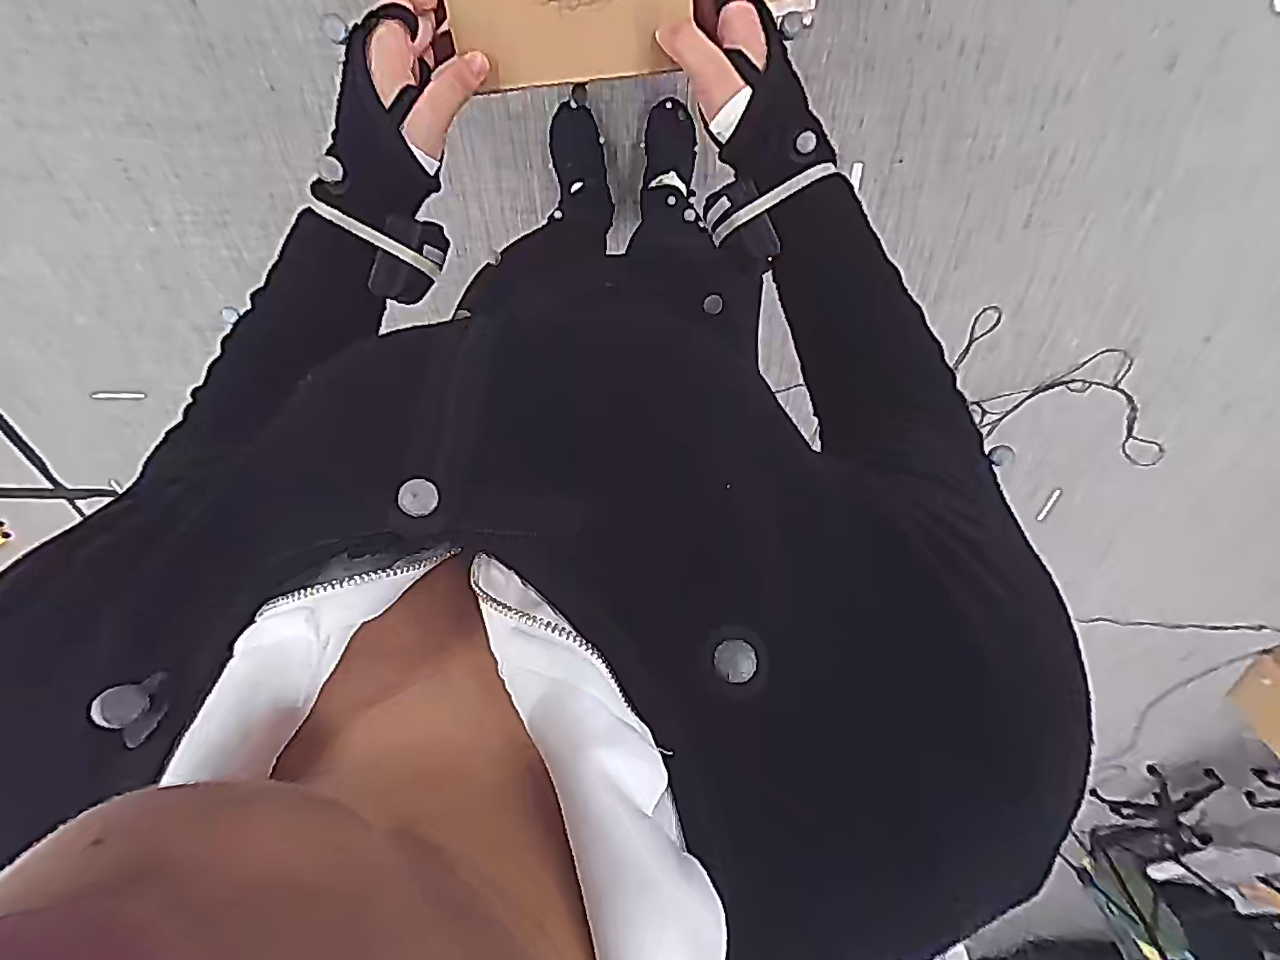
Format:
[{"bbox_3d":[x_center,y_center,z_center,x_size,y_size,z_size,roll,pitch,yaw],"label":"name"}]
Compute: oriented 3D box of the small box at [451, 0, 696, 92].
[{"bbox_3d":[-0.049,-0.404,0.399,0.168,0.176,0.179,-4,128,4],"label":"small box"}]
